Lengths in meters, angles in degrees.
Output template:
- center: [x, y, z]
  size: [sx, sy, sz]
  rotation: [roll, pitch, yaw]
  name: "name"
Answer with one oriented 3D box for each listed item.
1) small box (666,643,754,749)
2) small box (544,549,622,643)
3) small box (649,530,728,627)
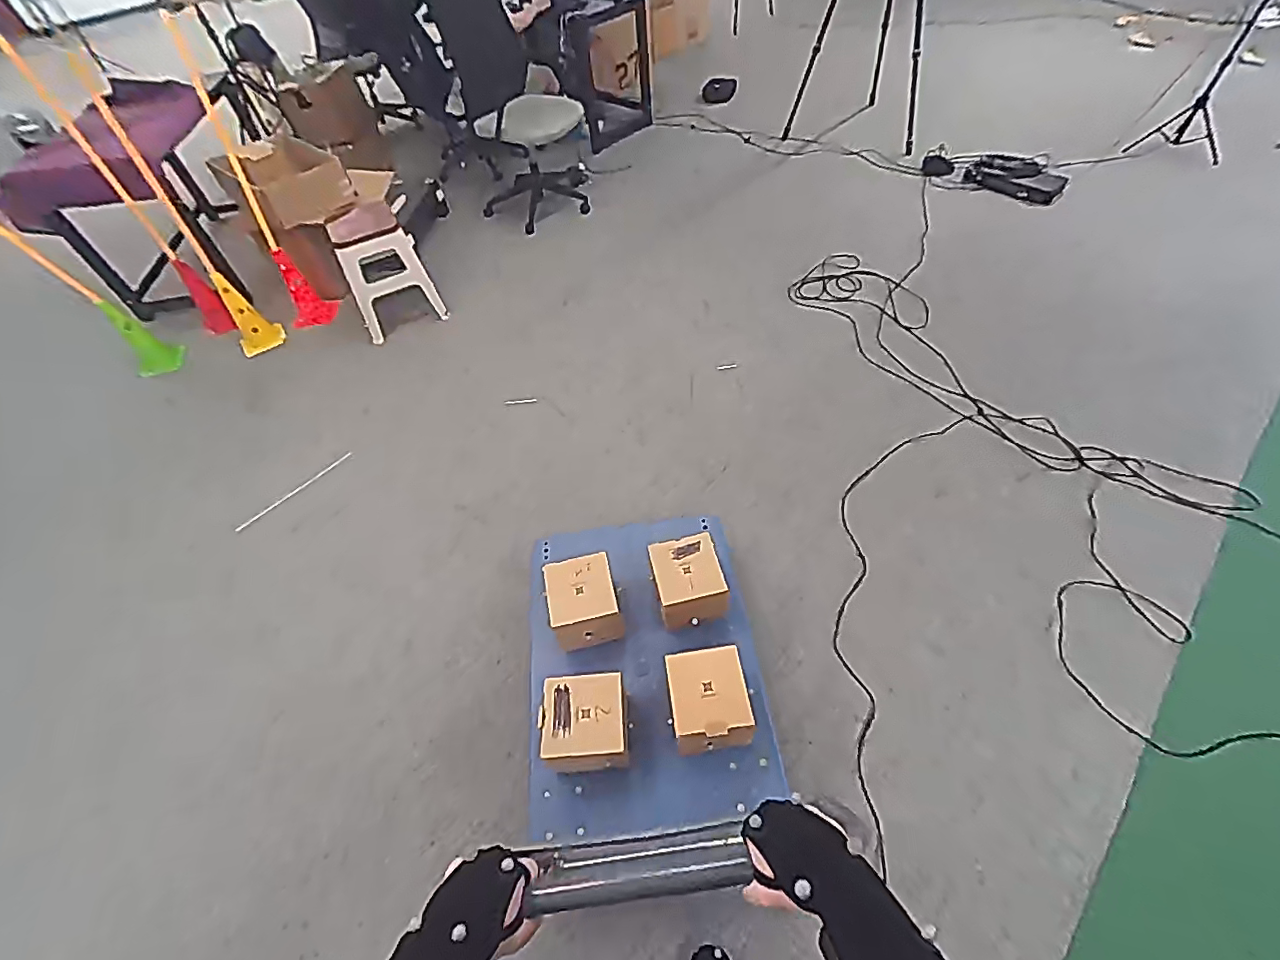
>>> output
- center: [0.152, 0.494, 1.233]
  size: [0.168, 0.176, 0.179]
  rotation: [-8, 53, -1]
  name: "small box"
- center: [-0.145, 0.307, 1.400]
  size: [0.168, 0.176, 0.179]
  rotation: [-11, 53, -5]
  name: "small box"
- center: [0.122, 0.259, 1.413]
  size: [0.168, 0.176, 0.179]
  rotation: [-12, 53, -4]
  name: "small box"
